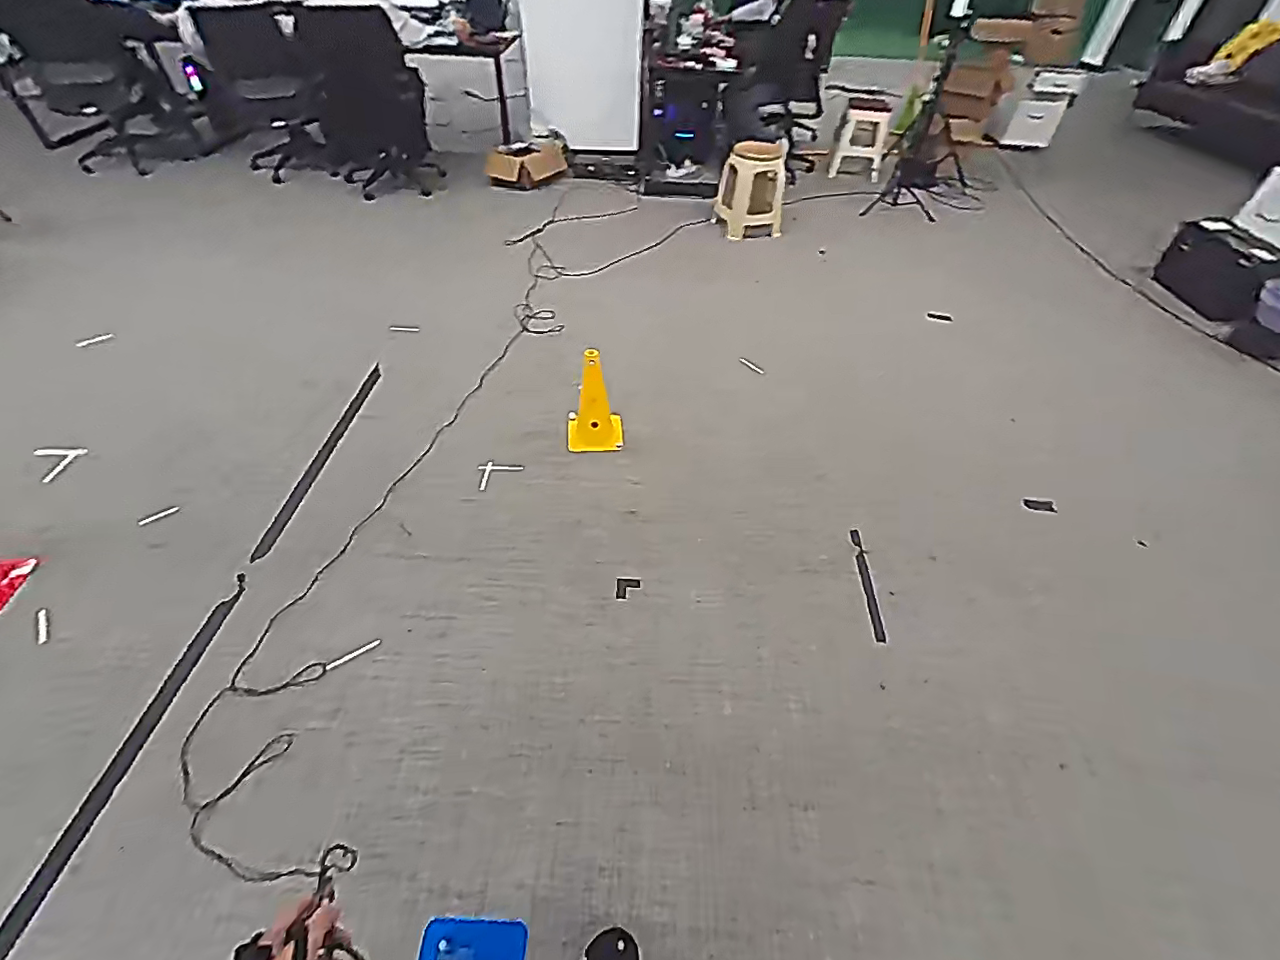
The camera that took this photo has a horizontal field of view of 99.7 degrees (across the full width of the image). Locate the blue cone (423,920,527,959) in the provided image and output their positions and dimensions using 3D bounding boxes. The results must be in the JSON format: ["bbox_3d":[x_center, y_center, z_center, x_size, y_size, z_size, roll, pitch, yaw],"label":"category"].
[{"bbox_3d":[-0.304,0.811,0.866,0.192,0.380,0.193,4,46,0],"label":"blue cone"}]

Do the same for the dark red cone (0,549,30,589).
[{"bbox_3d":[-1.855,0.163,1.389,0.201,0.394,0.202,-2,46,-6],"label":"dark red cone"}]
